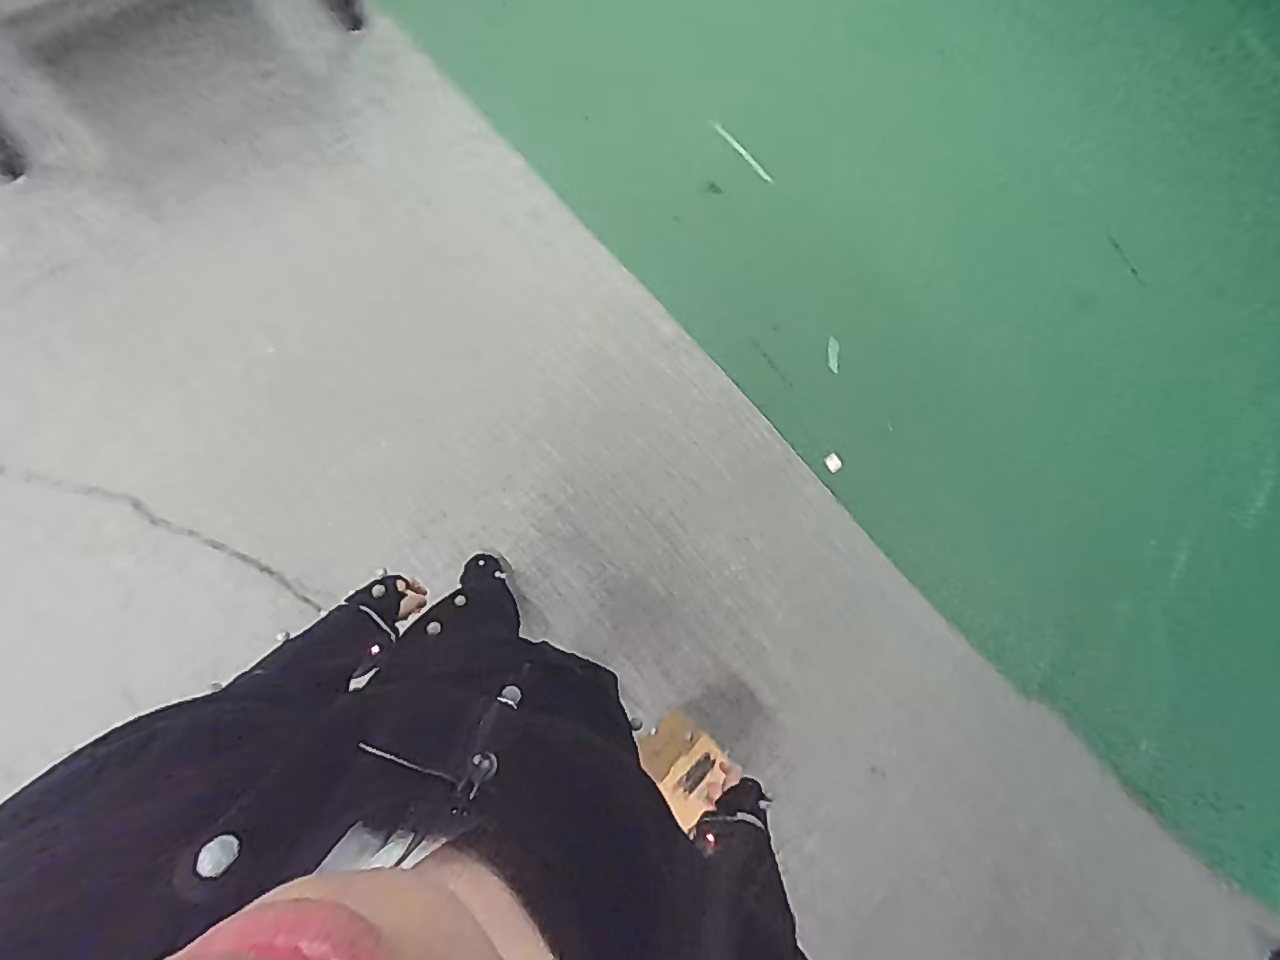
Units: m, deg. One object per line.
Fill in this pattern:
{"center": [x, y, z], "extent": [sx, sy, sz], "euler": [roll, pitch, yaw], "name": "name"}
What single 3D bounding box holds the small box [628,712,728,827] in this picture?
{"center": [0.089, 0.720, 1.369], "extent": [0.168, 0.176, 0.179], "euler": [-39, 85, -16], "name": "small box"}
